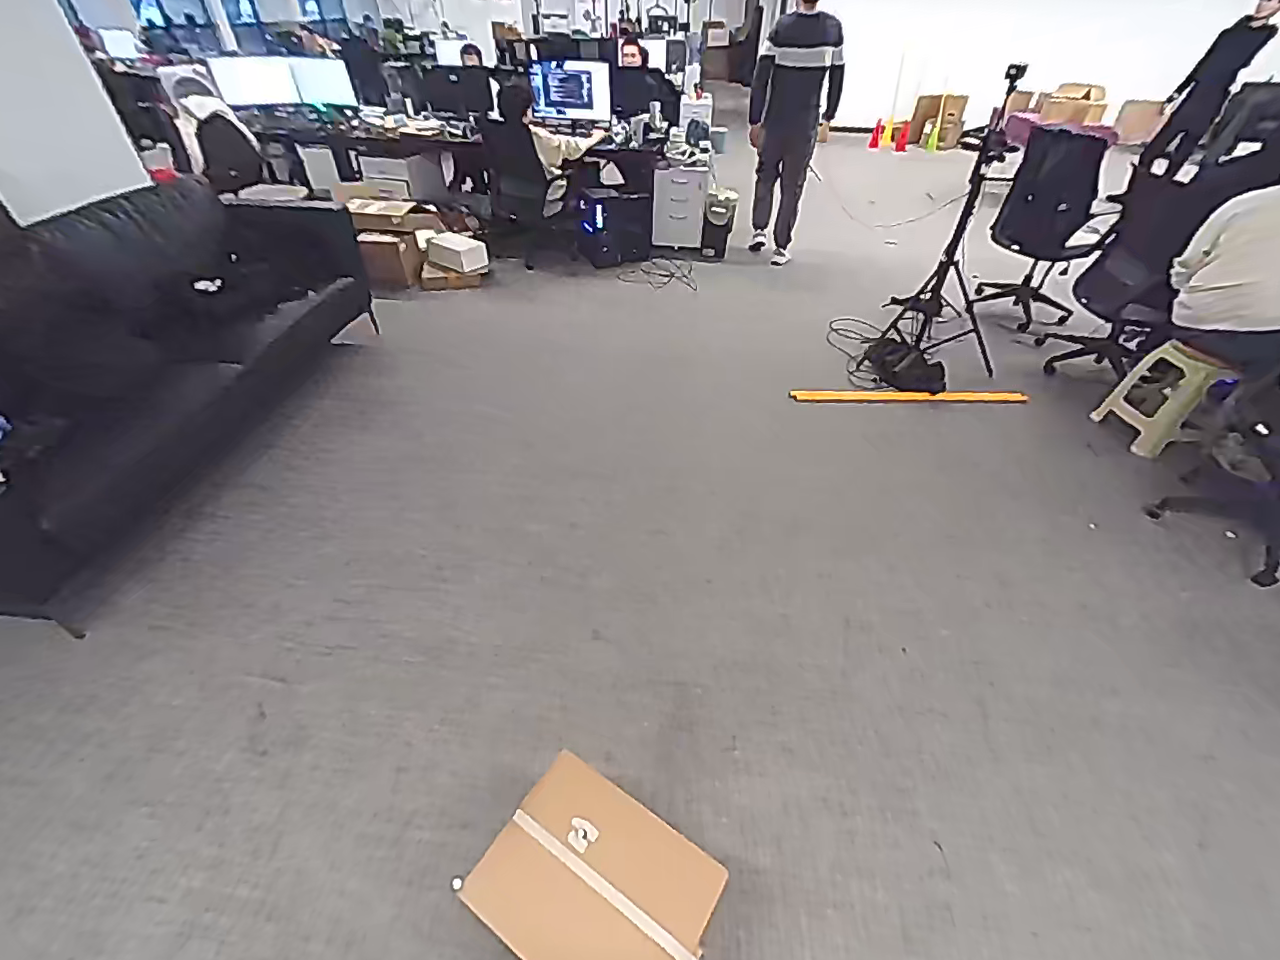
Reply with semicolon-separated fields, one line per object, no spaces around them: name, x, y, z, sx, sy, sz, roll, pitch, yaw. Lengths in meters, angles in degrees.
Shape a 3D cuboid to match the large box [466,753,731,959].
large box;-0.069;0.856;1.098;0.408;0.320;0.320;23;46;25
